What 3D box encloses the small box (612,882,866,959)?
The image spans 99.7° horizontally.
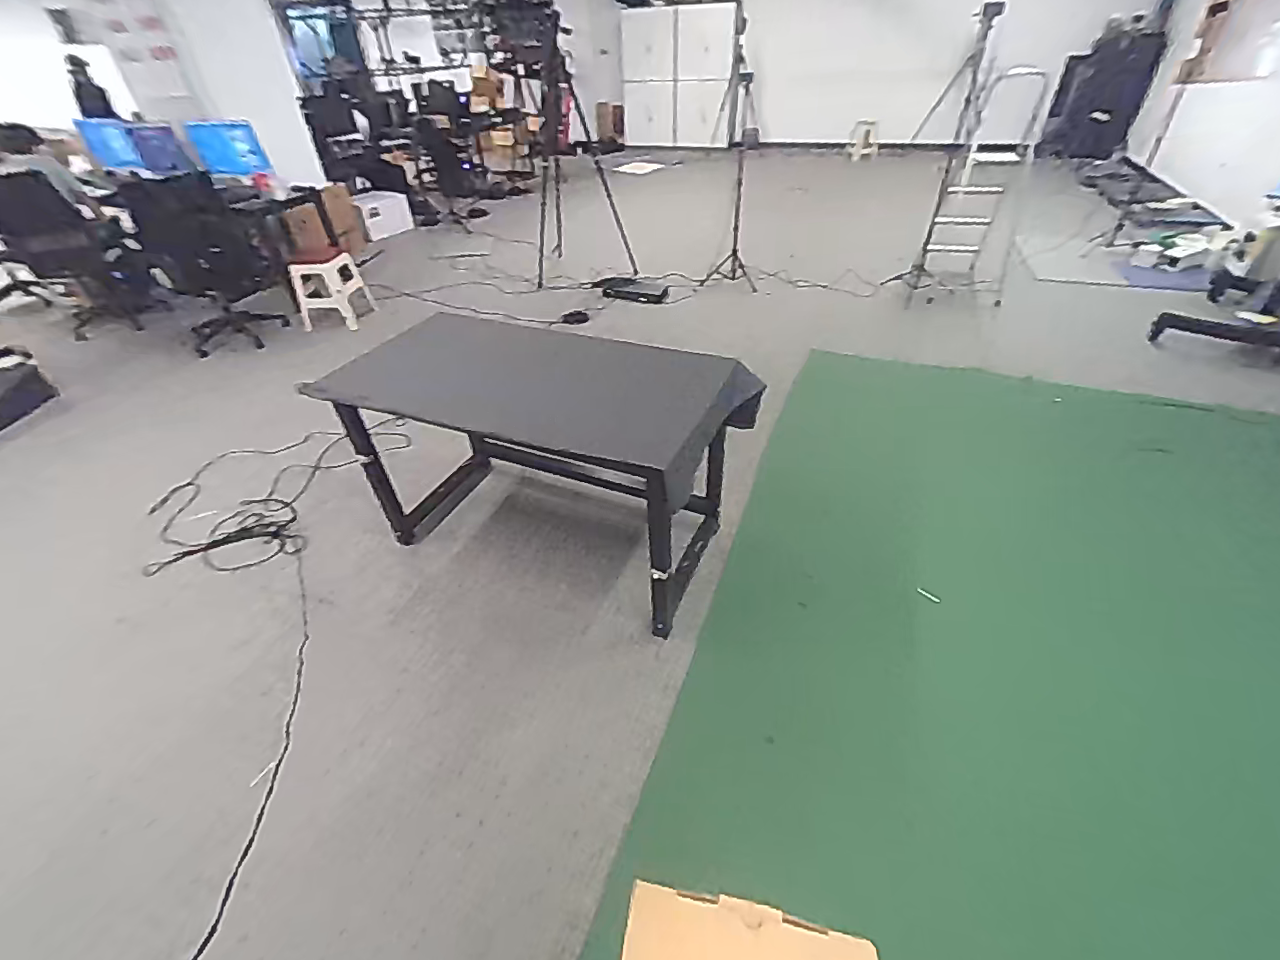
[{"bbox_3d":[0.054,0.413,0.358,0.168,0.176,0.179,7,38,9],"label":"small box"}]
